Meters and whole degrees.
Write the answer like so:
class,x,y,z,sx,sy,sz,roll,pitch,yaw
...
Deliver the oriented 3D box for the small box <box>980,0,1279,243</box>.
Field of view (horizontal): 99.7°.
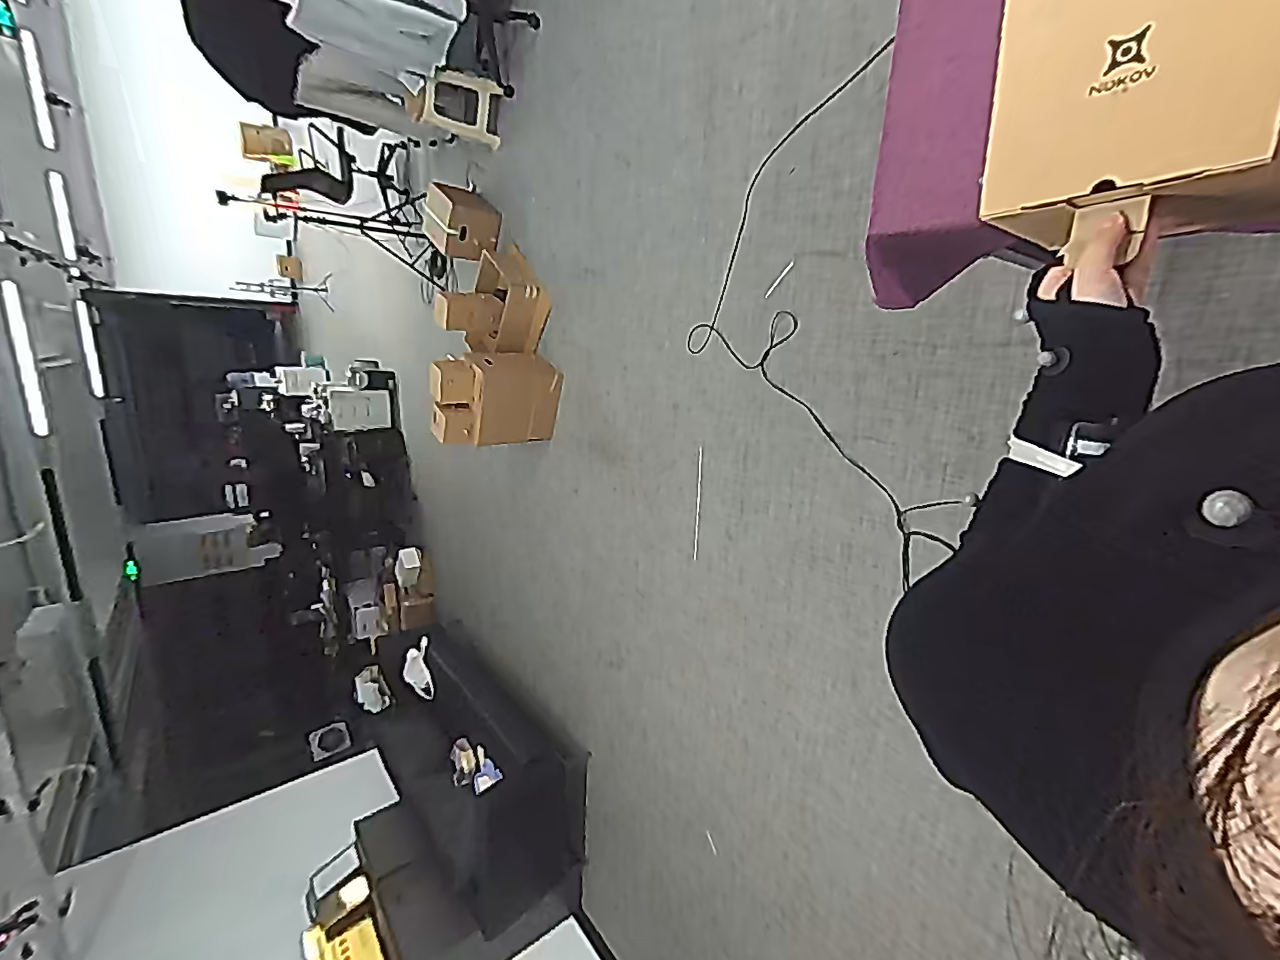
class,x,y,z,sx,sy,sz,roll,pitch,yaw
small box,0.410,-0.309,0.438,0.168,0.176,0.179,15,109,52
